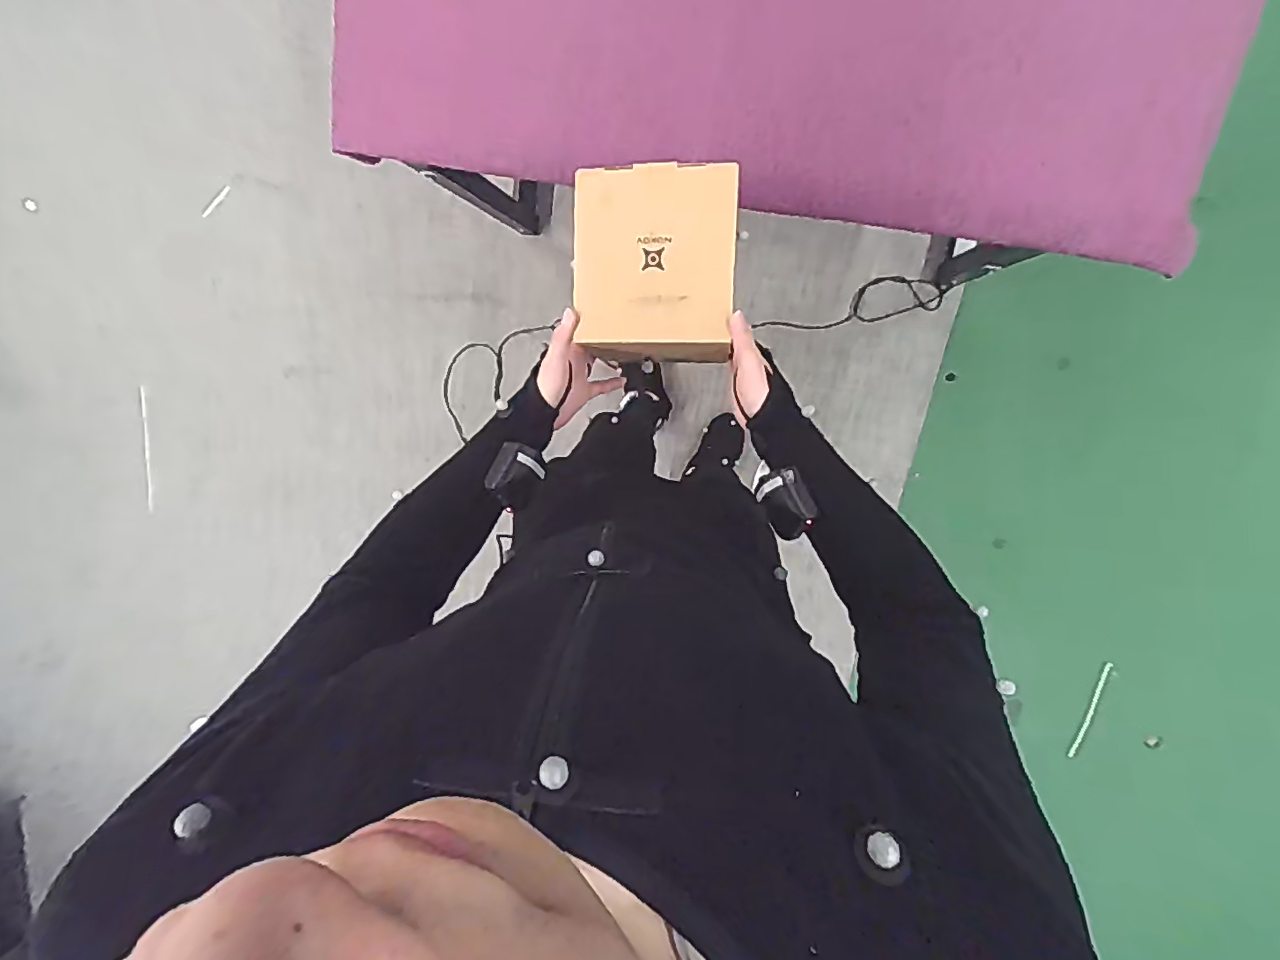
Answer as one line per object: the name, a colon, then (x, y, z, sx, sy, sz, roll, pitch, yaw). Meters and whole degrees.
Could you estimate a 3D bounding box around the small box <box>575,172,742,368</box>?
small box: (0.024, -0.229, 0.628, 0.168, 0.176, 0.179, 3, 97, 7)
